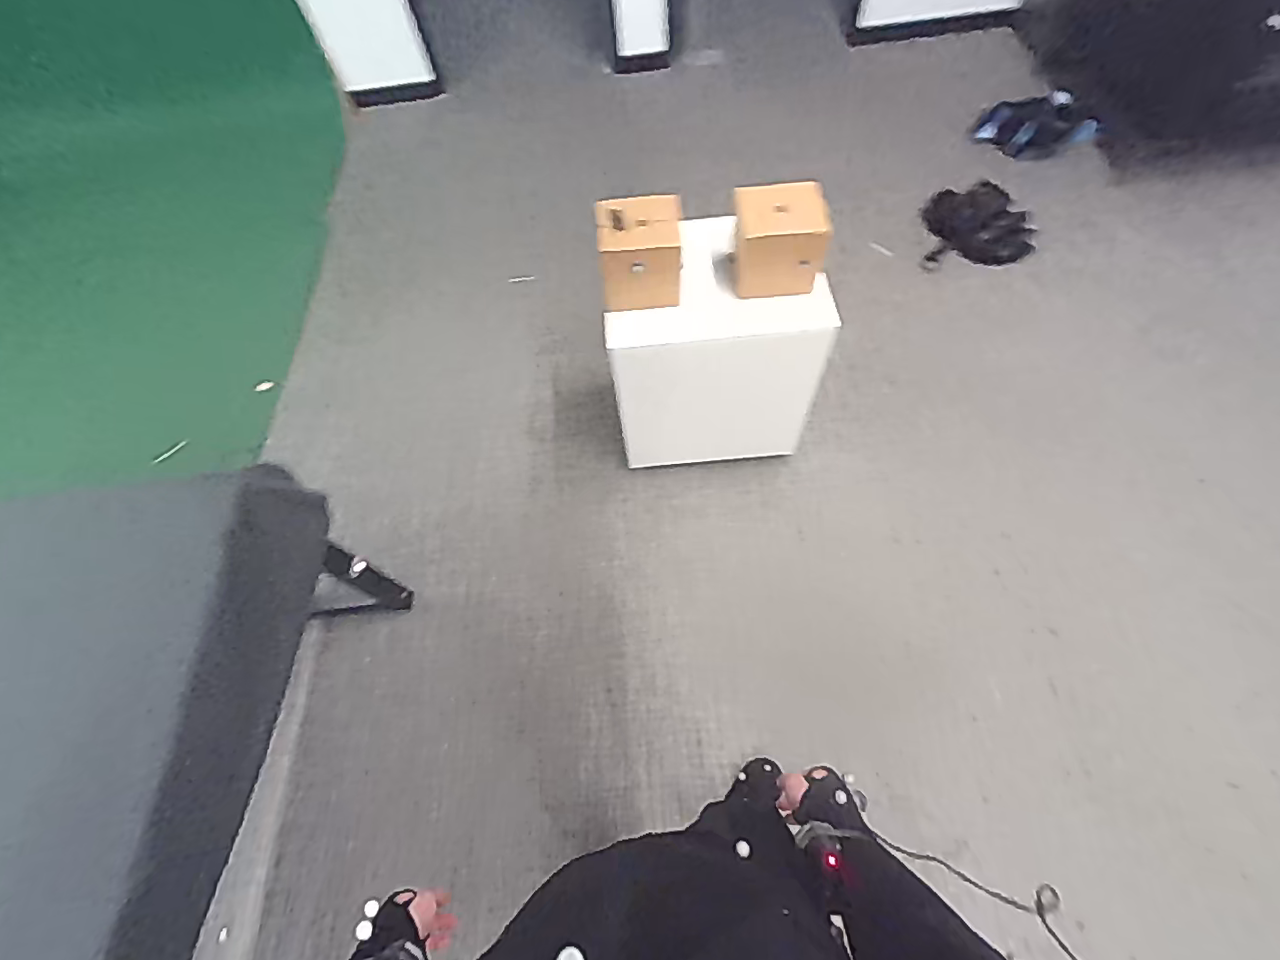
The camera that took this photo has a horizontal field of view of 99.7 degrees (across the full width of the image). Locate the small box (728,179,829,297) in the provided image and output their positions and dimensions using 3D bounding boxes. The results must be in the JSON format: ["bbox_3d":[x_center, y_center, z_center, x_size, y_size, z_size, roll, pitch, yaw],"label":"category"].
[{"bbox_3d":[0.296,-0.527,1.190,0.179,0.176,0.168,-4,62,3],"label":"small box"}]

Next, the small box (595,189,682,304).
[{"bbox_3d":[-0.003,-0.509,1.192,0.179,0.176,0.168,-4,63,-1],"label":"small box"}]
